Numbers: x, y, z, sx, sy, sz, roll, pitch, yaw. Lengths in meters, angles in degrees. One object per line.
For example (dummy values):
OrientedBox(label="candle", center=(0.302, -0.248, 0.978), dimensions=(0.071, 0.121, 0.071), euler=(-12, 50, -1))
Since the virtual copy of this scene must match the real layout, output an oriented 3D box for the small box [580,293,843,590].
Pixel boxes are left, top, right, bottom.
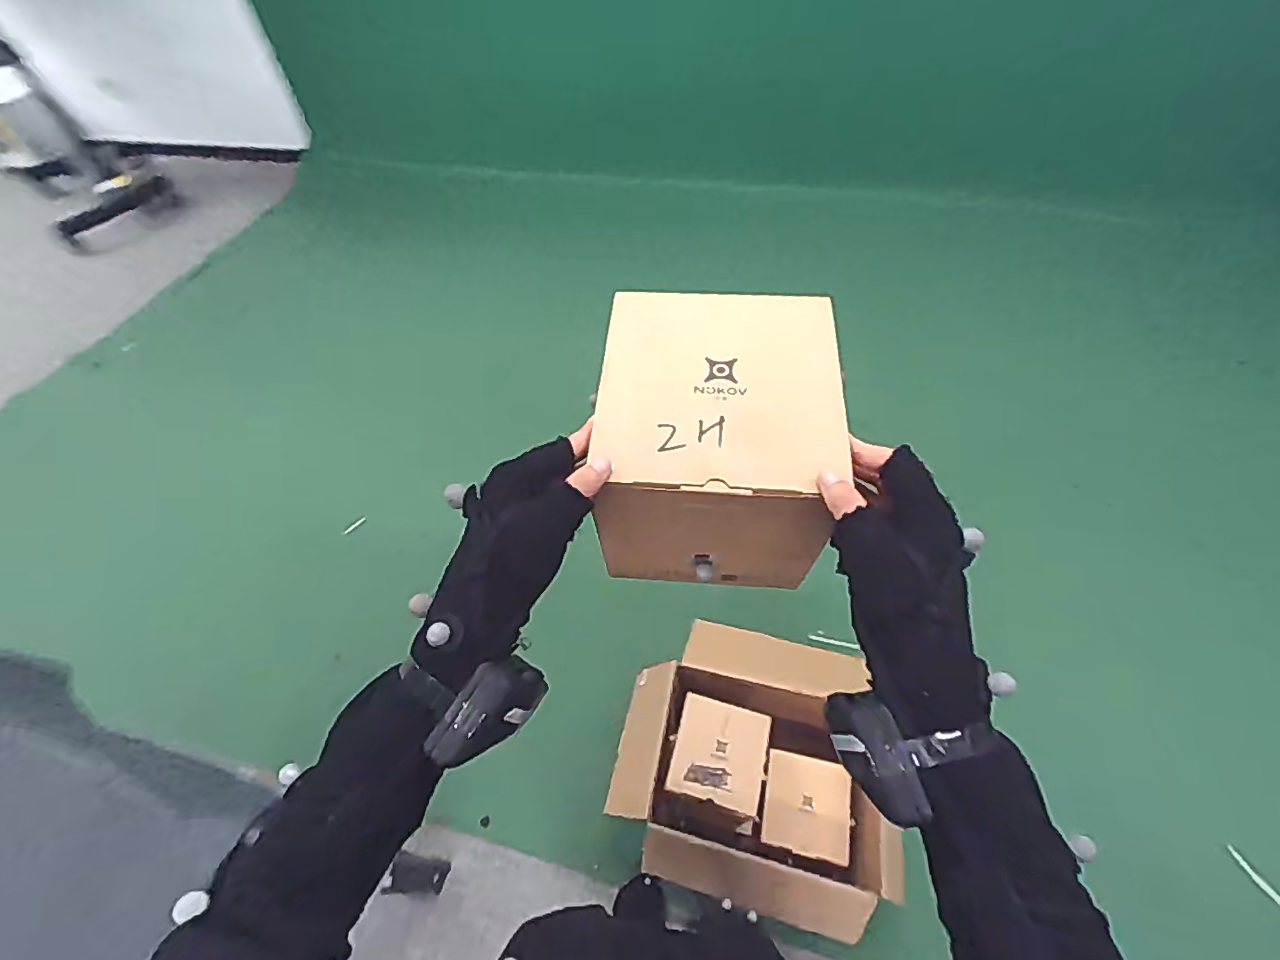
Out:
OrientedBox(label="small box", center=(0.052, -0.026, 0.443), dimensions=(0.168, 0.176, 0.179), euler=(3, 60, 5))
